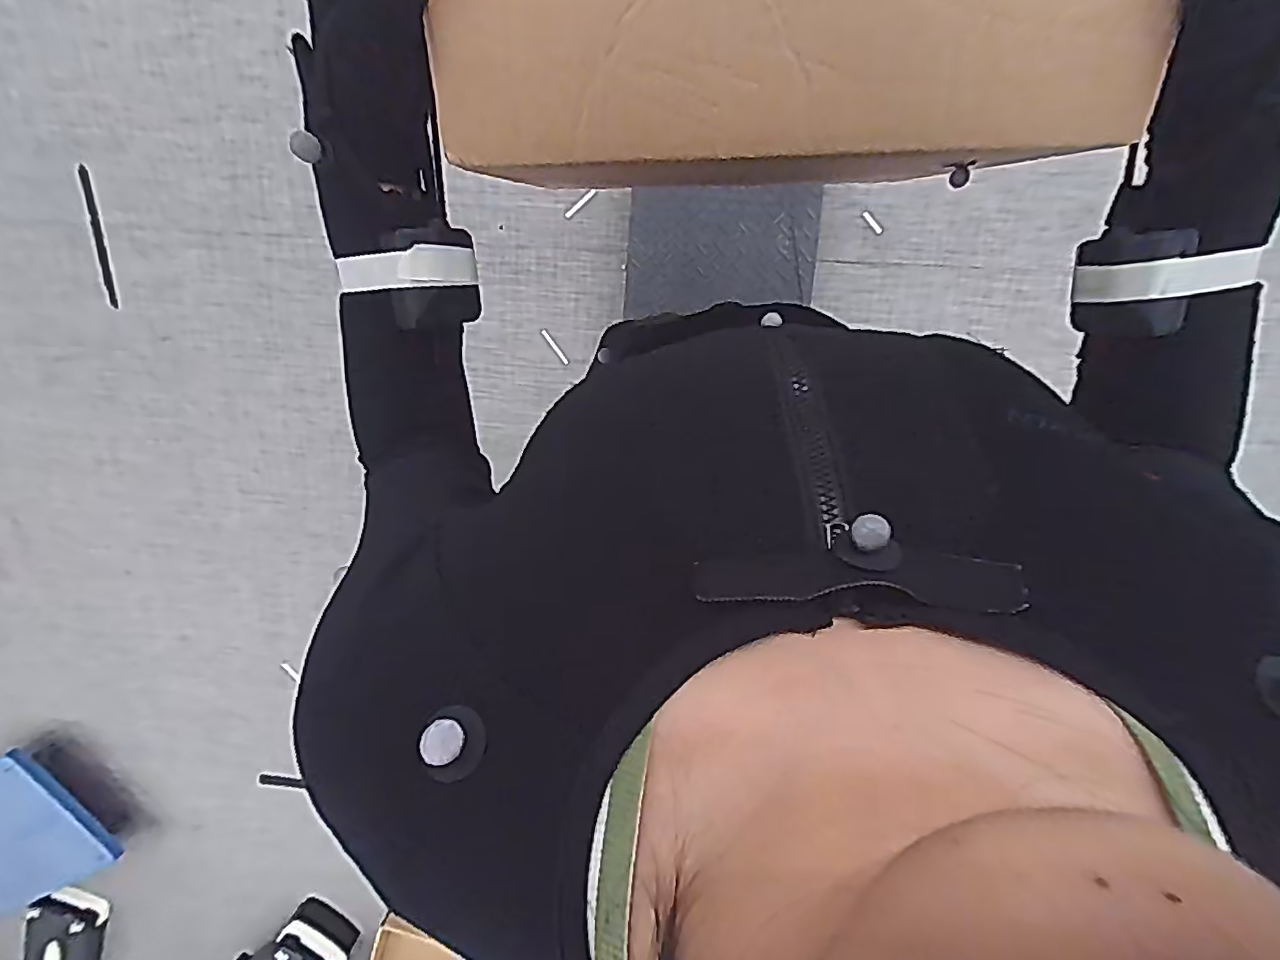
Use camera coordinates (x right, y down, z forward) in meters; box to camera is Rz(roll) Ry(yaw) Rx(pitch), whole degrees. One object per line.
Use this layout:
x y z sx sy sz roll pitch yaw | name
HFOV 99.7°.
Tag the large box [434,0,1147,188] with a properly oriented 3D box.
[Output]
0.084 -0.402 0.399 0.408 0.320 0.320 -1 116 2 | large box
